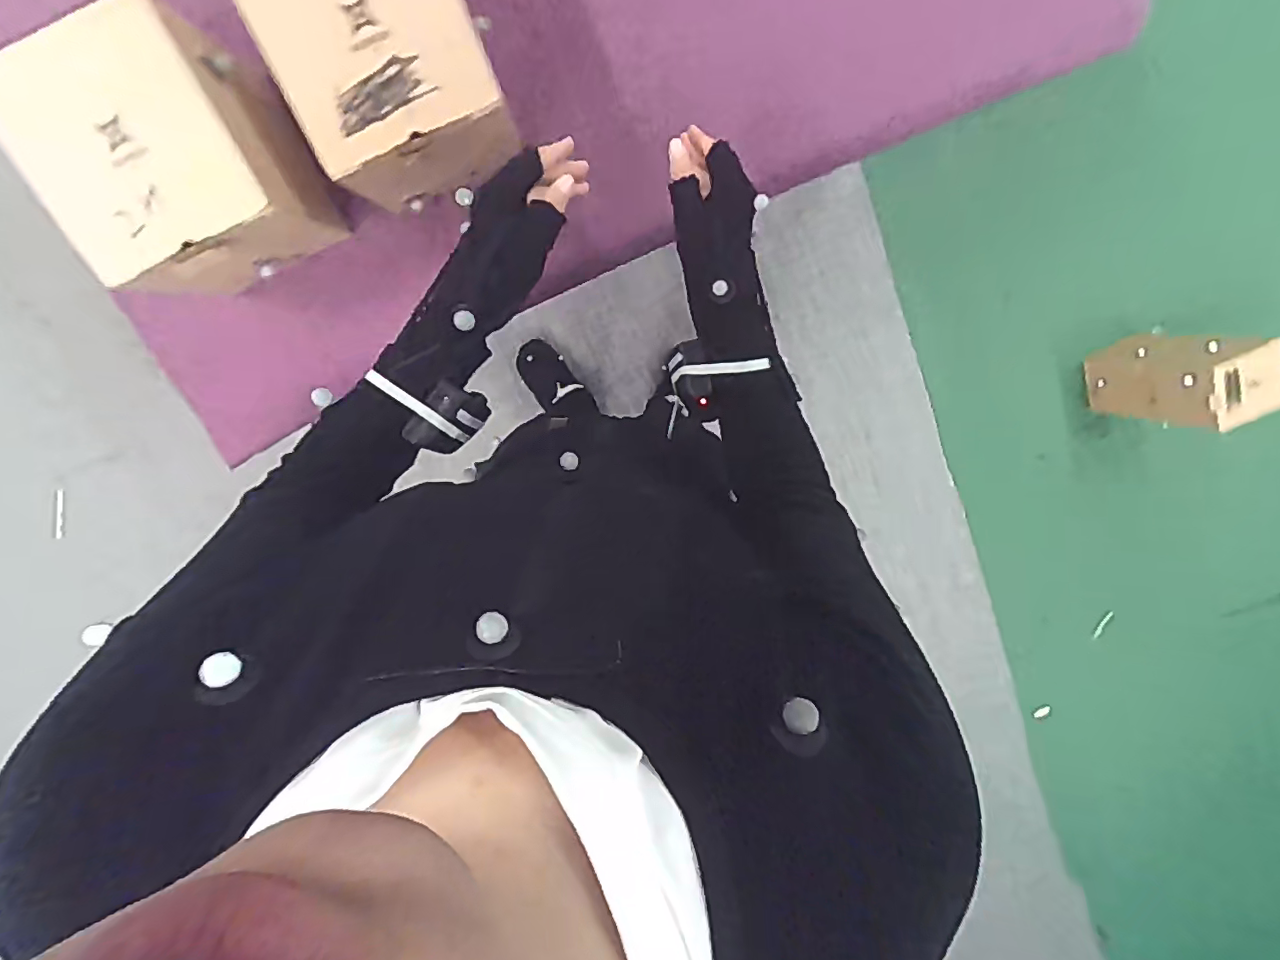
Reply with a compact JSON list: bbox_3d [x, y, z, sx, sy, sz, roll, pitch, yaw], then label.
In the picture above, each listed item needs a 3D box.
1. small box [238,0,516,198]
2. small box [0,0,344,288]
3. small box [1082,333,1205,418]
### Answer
[{"bbox_3d":[-0.234,-0.394,0.519,0.168,0.176,0.179,-23,107,1],"label":"small box"},{"bbox_3d":[-0.435,-0.303,0.525,0.168,0.176,0.179,-24,108,2],"label":"small box"},{"bbox_3d":[1.364,-0.292,1.471,0.179,0.176,0.168,-25,108,3],"label":"small box"}]
